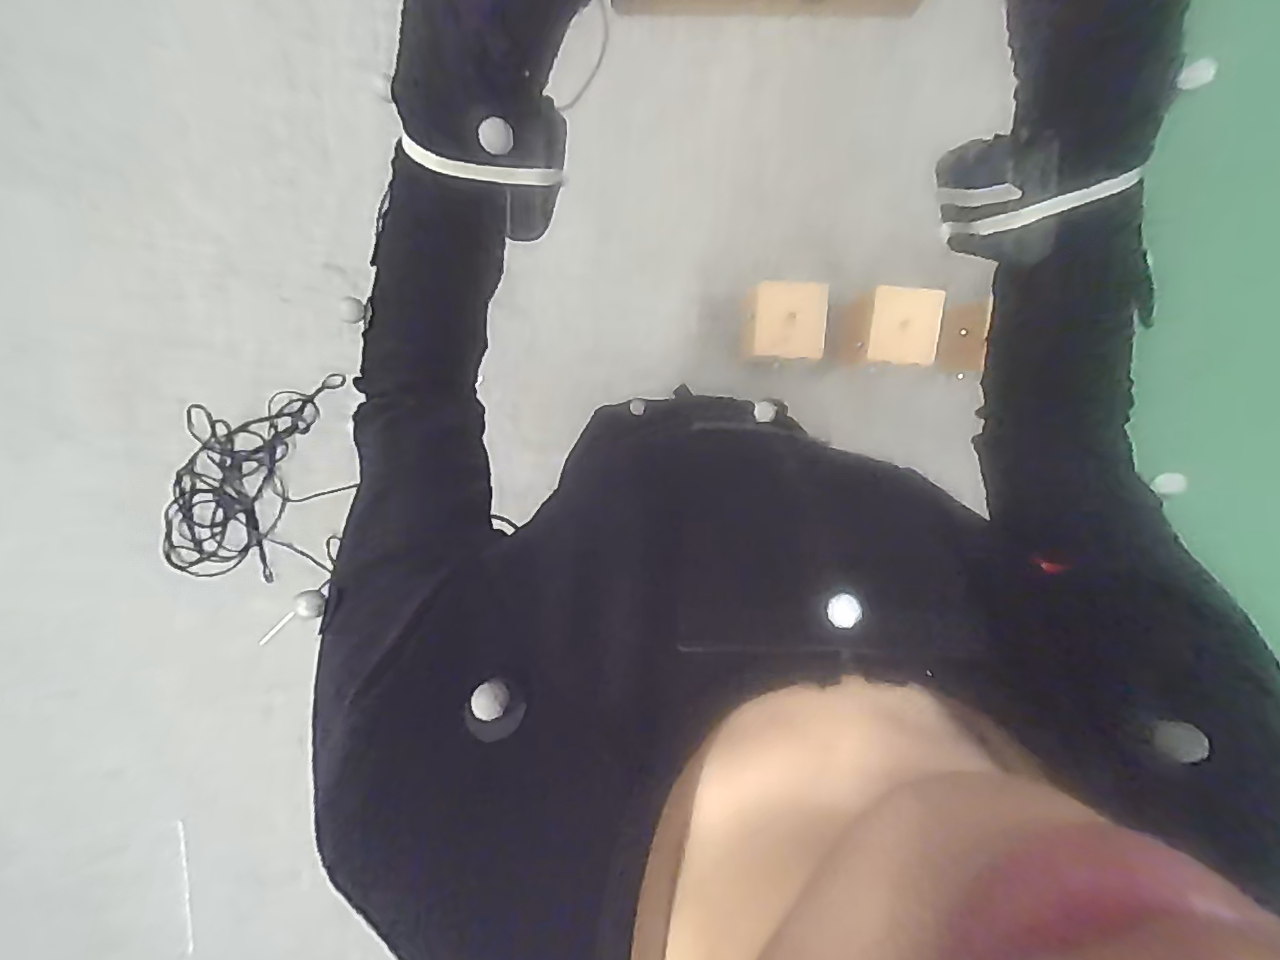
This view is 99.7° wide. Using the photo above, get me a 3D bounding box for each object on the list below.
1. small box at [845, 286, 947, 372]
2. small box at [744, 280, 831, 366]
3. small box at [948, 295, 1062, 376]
[{"bbox_3d":[0.624,-0.367,1.339,0.168,0.176,0.179,5,98,-1],"label":"small box"},{"bbox_3d":[0.356,-0.381,1.334,0.168,0.176,0.179,3,98,1],"label":"small box"},{"bbox_3d":[0.893,-0.351,1.340,0.168,0.176,0.179,2,97,0],"label":"small box"}]
